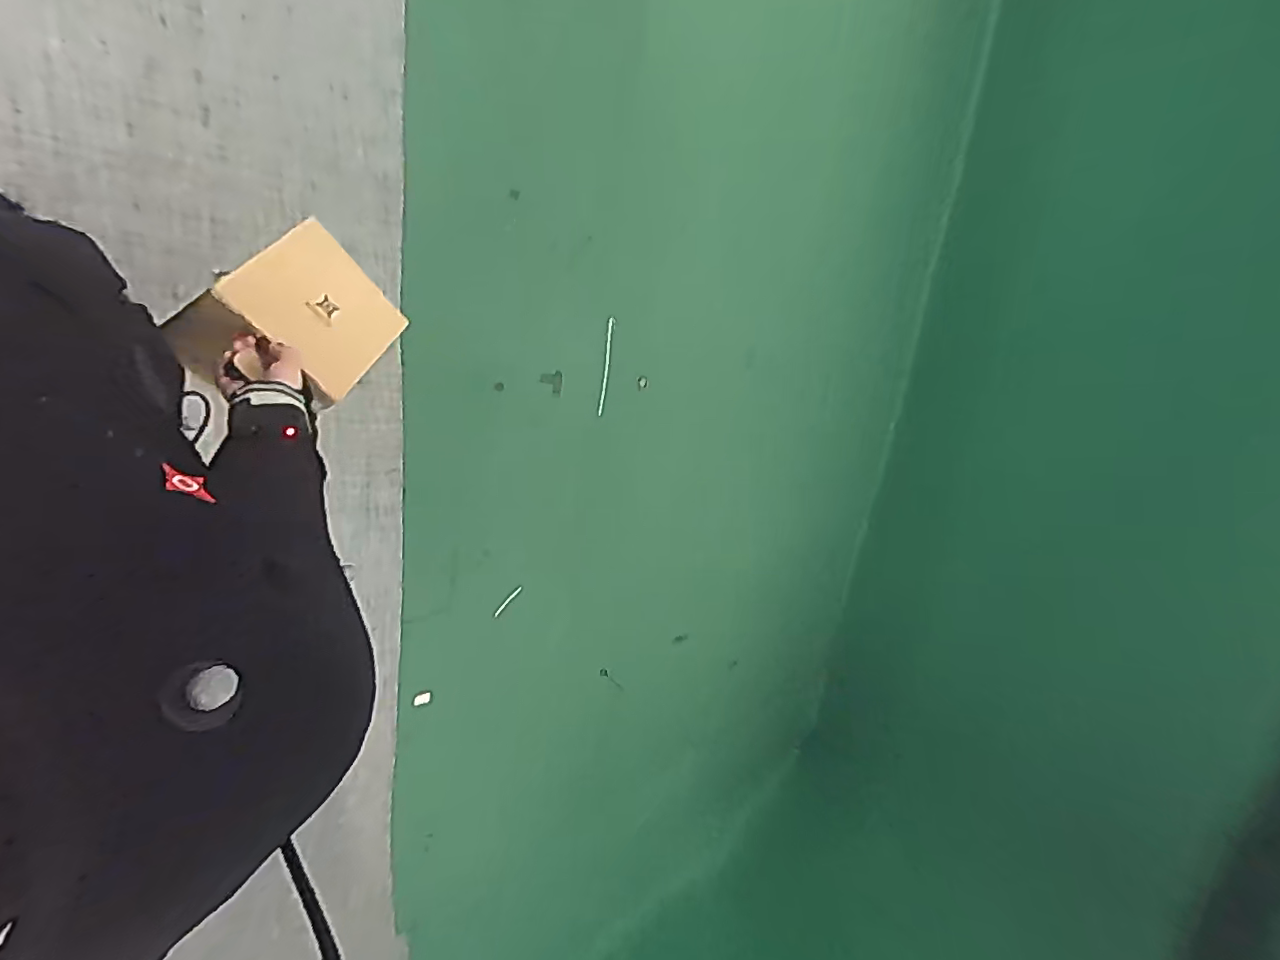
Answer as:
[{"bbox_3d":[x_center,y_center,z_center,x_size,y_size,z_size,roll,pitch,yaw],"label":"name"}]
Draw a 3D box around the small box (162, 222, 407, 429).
[{"bbox_3d":[-0.452,-0.191,0.698,0.168,0.176,0.179,53,39,-38],"label":"small box"}]
